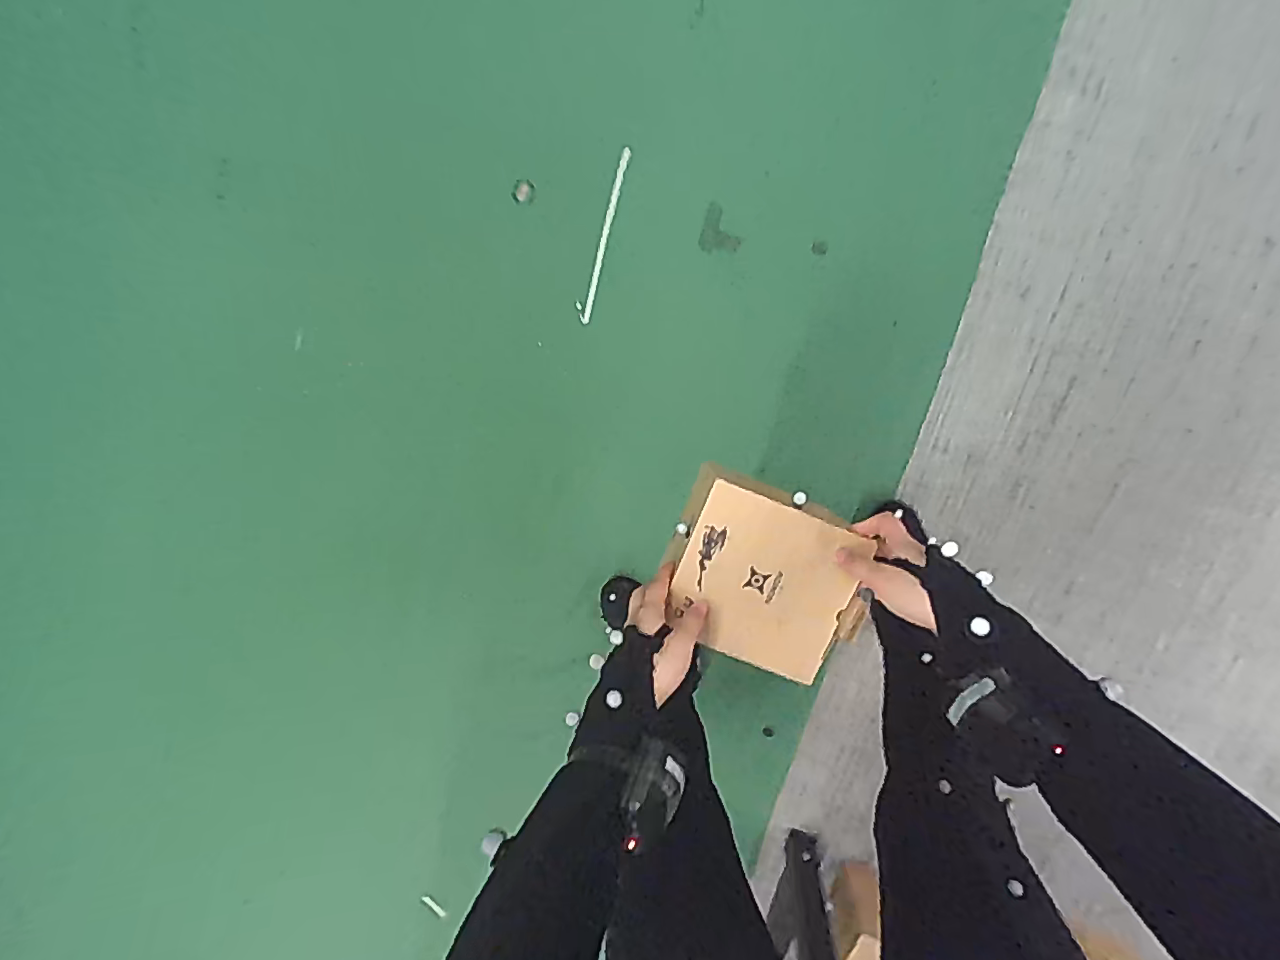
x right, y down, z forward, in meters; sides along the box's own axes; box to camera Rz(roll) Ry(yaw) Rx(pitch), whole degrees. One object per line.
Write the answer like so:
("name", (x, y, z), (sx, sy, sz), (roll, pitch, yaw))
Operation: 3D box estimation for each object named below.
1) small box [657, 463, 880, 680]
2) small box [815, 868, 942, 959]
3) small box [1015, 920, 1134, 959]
("small box", (0.130, 0.089, 0.619), (0.179, 0.176, 0.168), (23, 98, -1))
("small box", (0.469, 0.922, 1.068), (0.179, 0.176, 0.168), (22, 101, 6))
("small box", (0.863, 0.991, 1.020), (0.179, 0.176, 0.168), (29, 103, 1))
